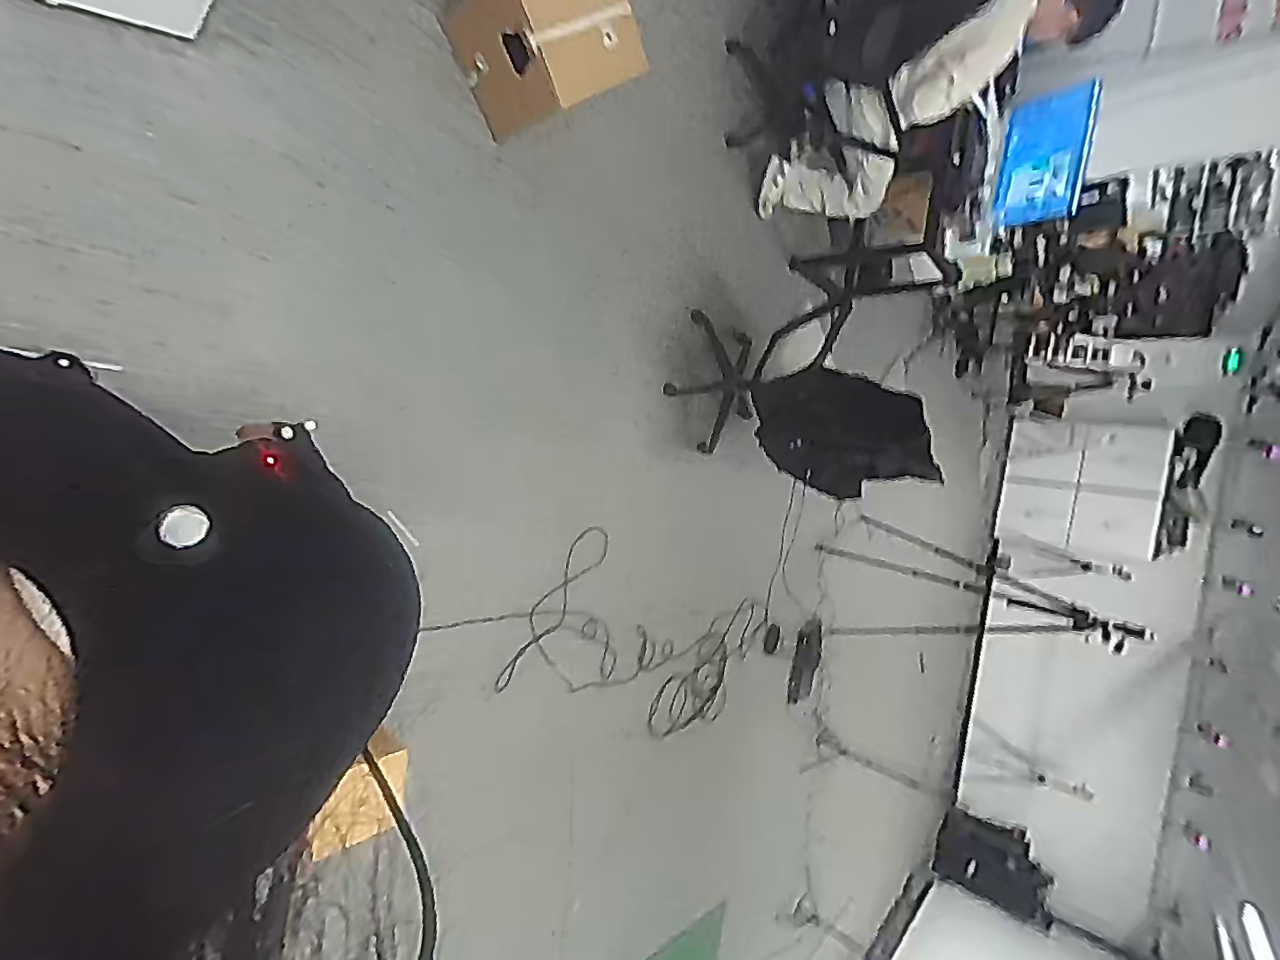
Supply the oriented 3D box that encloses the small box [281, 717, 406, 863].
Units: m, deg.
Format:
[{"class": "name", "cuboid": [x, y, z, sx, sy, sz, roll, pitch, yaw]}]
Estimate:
[{"class": "small box", "cuboid": [-0.603, 0.613, 1.100, 0.179, 0.176, 0.168, 1, 96, -46]}]
